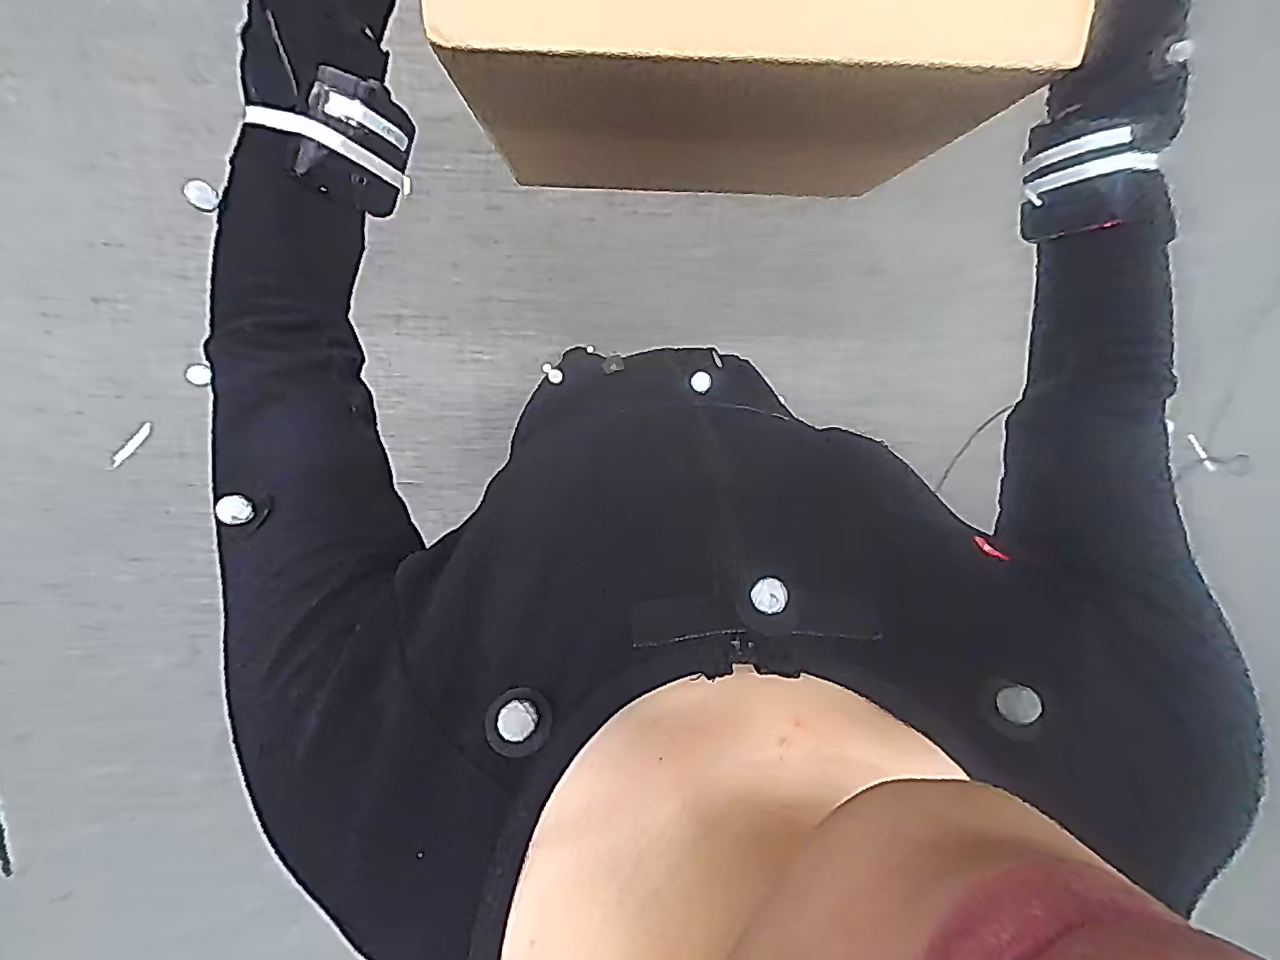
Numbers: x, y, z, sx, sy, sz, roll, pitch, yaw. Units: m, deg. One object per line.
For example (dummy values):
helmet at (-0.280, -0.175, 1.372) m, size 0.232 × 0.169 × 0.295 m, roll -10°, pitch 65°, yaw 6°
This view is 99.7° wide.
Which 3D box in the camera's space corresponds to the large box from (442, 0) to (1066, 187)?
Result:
large box at (0.066, -0.456, 0.451) m, size 0.408 × 0.320 × 0.320 m, roll 0°, pitch 105°, yaw -3°
